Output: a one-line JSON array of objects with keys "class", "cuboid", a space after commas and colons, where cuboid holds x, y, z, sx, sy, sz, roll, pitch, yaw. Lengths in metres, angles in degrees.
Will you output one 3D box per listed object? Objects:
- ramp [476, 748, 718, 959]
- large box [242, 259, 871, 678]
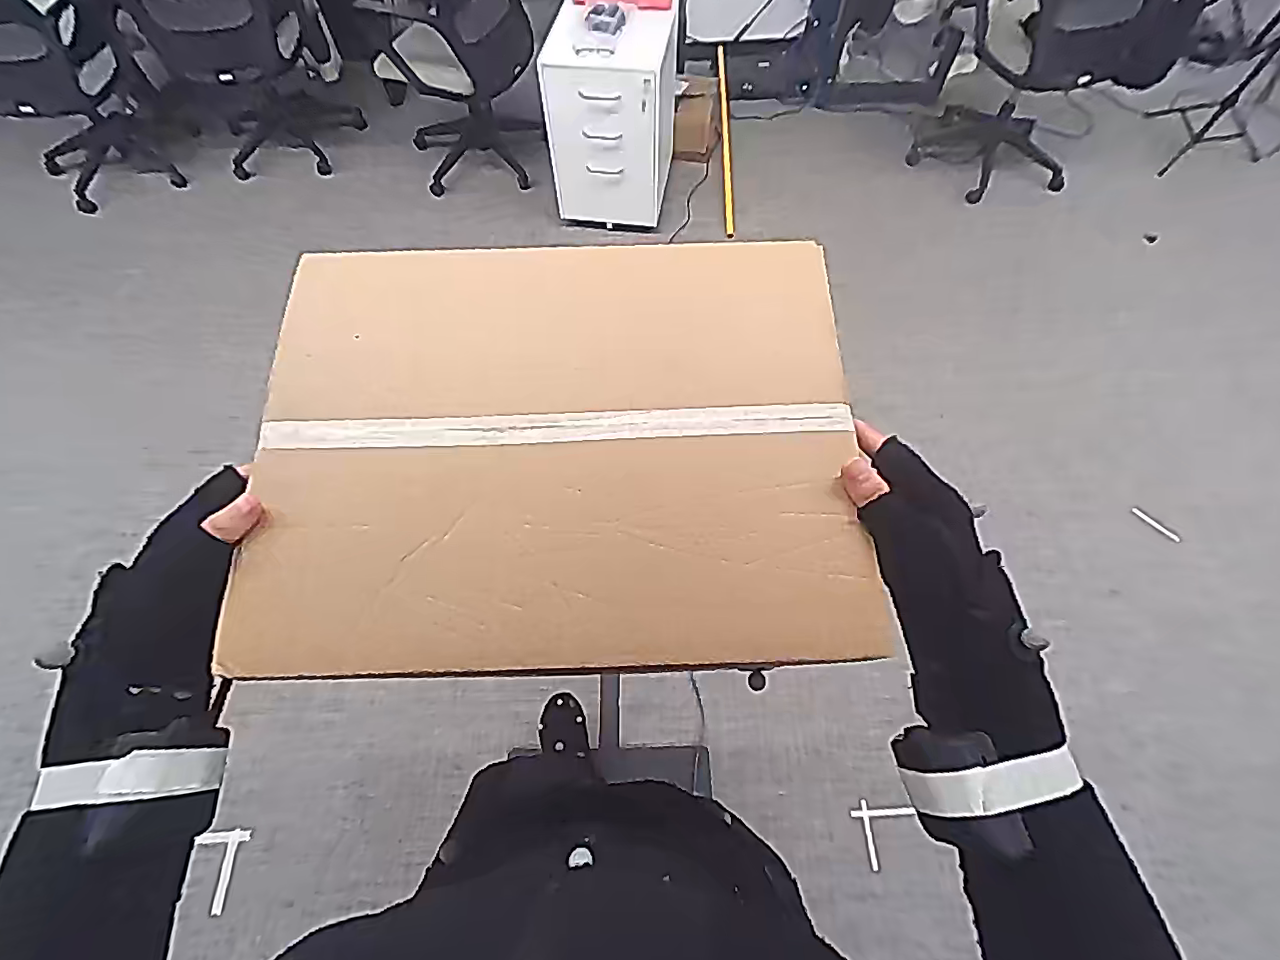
[{"class": "ramp", "cuboid": [-0.086, 1.055, 1.020, 0.509, 0.206, 0.991, -2, 61, -1]}, {"class": "large box", "cuboid": [-0.055, 0.019, 0.527, 0.408, 0.320, 0.320, -1, 70, -1]}]
